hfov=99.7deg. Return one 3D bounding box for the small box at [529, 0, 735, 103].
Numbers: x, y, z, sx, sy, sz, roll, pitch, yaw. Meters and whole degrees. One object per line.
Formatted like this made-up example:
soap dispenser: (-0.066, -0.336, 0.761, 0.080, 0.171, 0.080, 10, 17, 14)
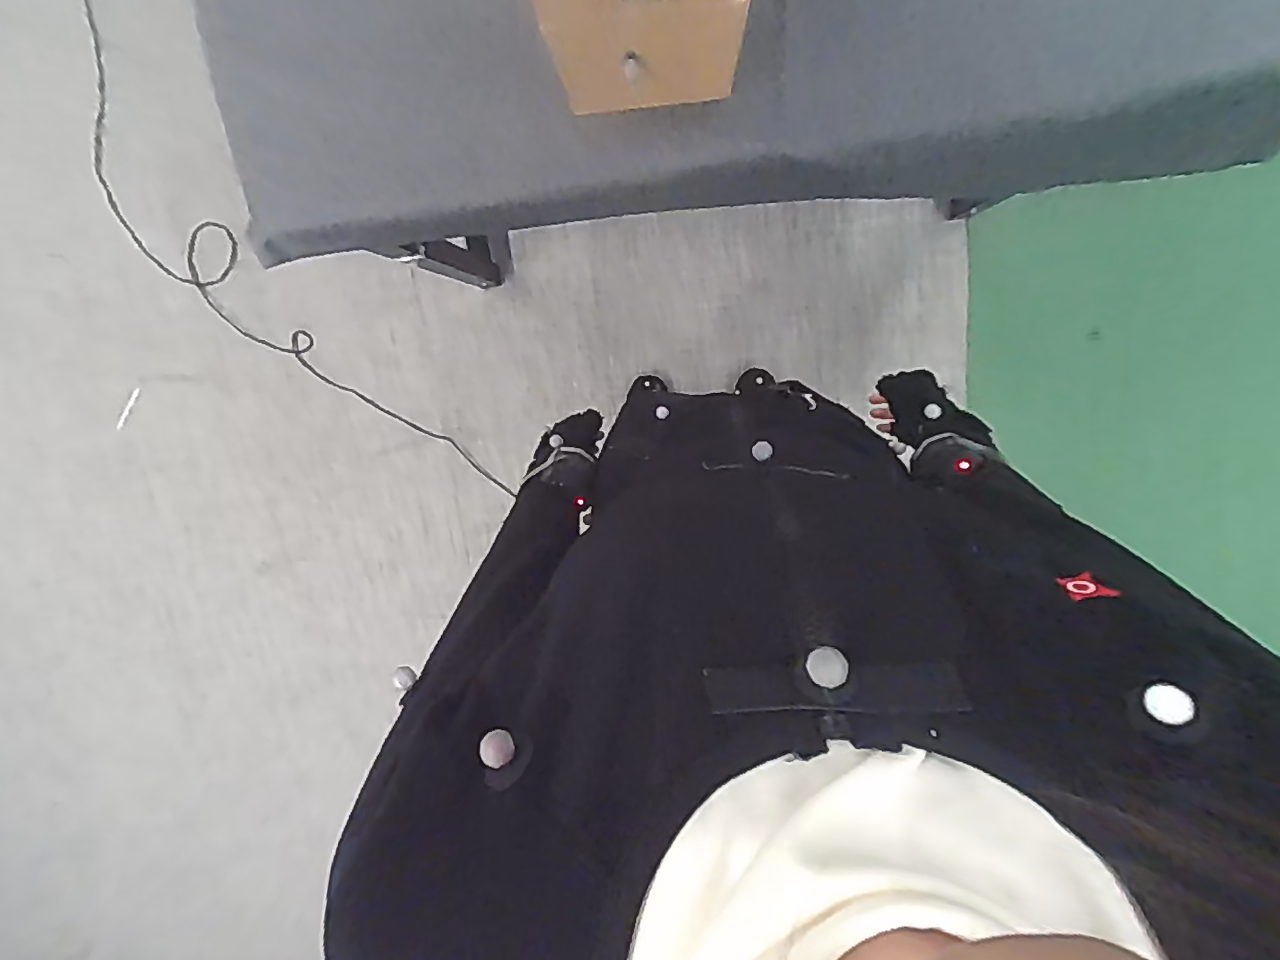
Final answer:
small box: (-0.004, -0.481, 0.502, 0.179, 0.176, 0.168, -3, 102, 4)
